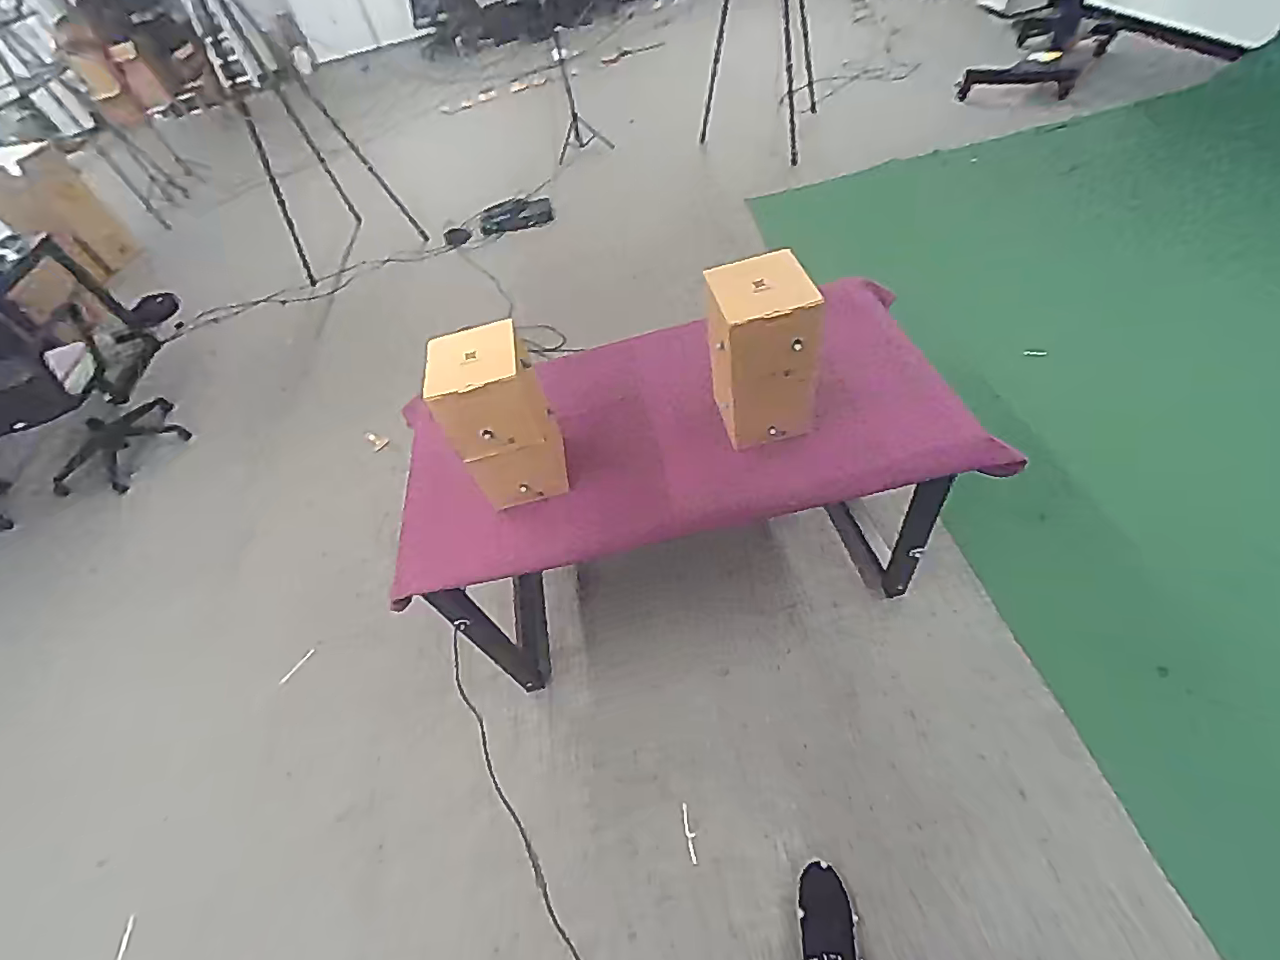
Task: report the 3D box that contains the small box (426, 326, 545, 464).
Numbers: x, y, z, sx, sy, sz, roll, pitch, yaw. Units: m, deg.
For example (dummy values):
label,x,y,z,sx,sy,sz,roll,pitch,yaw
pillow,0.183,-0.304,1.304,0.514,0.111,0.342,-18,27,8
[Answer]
label,x,y,z,sx,sy,sz,roll,pitch,yaw
small box,-0.288,-0.160,1.034,0.168,0.176,0.179,-15,51,1

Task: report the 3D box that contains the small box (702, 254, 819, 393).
label,x,y,z,sx,sy,sz,roll,pitch,yaw
small box,0.222,-0.282,1.008,0.168,0.176,0.179,-14,50,2

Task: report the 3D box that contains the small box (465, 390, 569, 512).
label,x,y,z,sx,sy,sz,roll,pitch,yaw
small box,-0.259,-0.059,1.158,0.168,0.176,0.179,-15,50,2
